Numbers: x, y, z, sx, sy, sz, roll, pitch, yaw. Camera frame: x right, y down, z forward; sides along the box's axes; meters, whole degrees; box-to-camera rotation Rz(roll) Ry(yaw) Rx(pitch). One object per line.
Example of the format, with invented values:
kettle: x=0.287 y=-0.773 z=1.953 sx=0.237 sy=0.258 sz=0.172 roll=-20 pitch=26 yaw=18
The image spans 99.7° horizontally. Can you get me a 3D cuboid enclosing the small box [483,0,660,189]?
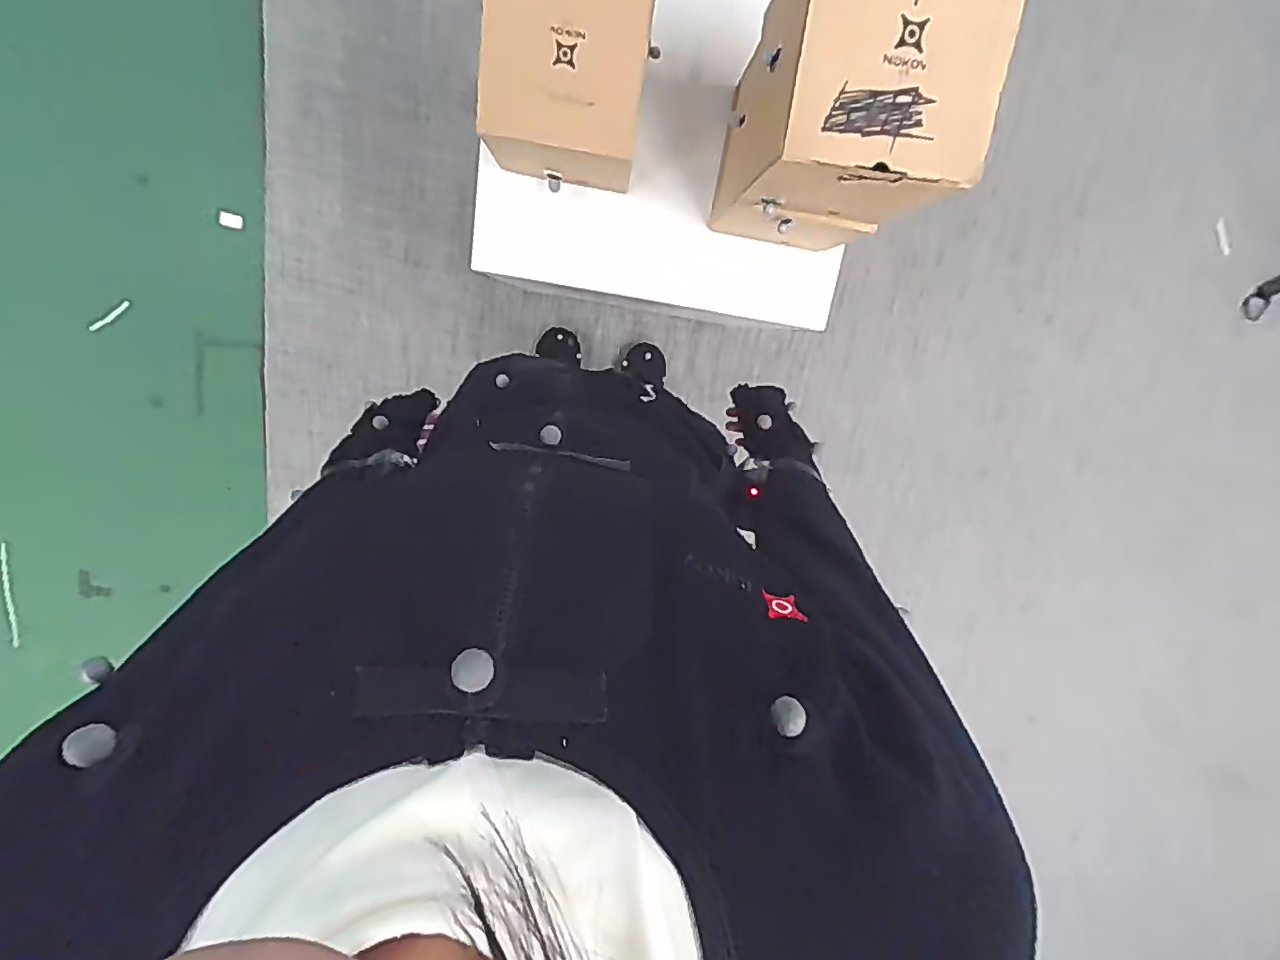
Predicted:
small box: x=-0.073 y=-0.454 z=0.614 sx=0.168 sy=0.176 sz=0.179 roll=7 pitch=108 yaw=-4

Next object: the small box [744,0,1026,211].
small box: x=0.198 y=-0.356 z=0.483 sx=0.168 sy=0.176 sz=0.179 roll=6 pitch=106 yaw=-4

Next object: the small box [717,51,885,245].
small box: x=0.196 y=-0.396 z=0.643 sx=0.168 sy=0.176 sz=0.179 roll=9 pitch=106 yaw=-4
